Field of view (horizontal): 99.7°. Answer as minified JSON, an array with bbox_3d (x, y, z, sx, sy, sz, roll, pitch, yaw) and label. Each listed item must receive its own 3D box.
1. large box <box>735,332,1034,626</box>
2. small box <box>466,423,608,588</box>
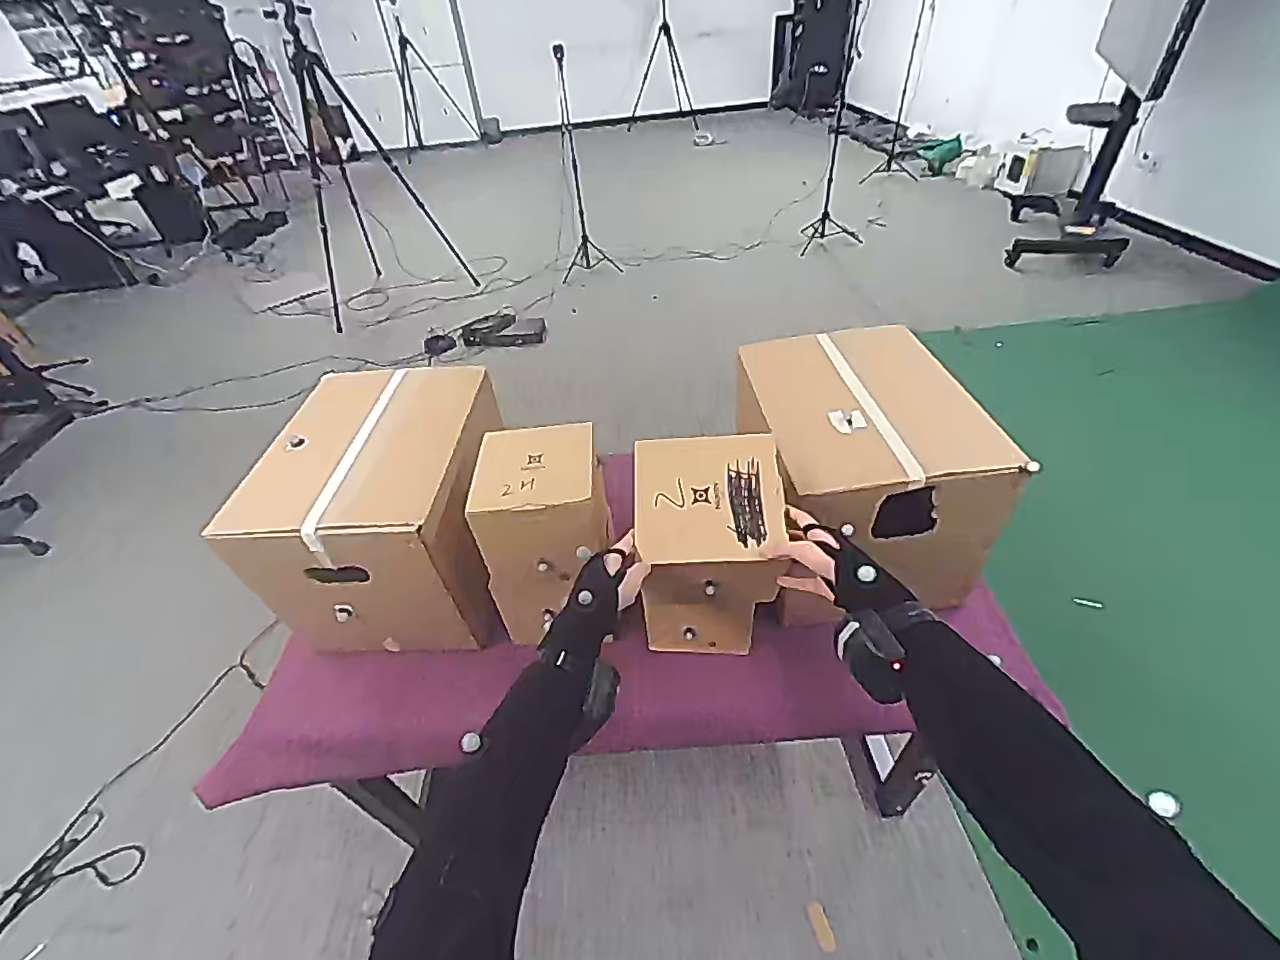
[{"bbox_3d":[0.360,-0.012,0.947,0.320,0.320,0.408,-8,42,2],"label":"large box"},{"bbox_3d":[-0.141,0.037,0.807,0.168,0.176,0.179,-6,42,1],"label":"small box"}]
